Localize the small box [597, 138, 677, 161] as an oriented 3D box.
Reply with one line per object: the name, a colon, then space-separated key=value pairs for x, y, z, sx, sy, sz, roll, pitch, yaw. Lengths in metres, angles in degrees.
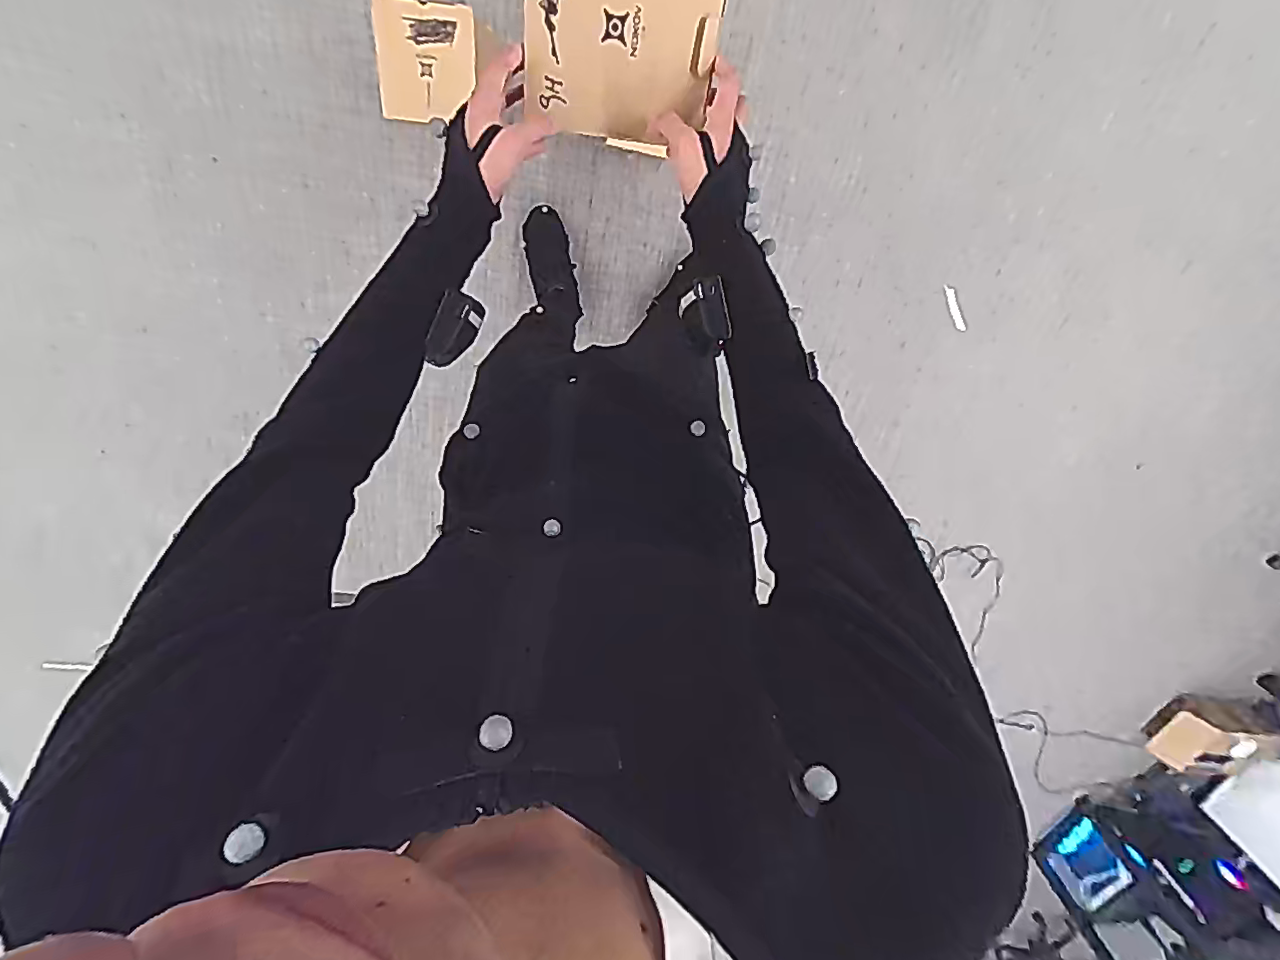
small box: x=0.002 y=-0.816 z=1.194 sx=0.179 sy=0.176 sz=0.168 roll=7 pitch=119 yaw=-11

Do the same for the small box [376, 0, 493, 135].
small box: x=-0.368 y=-0.755 z=0.998 sx=0.168 sy=0.176 sz=0.179 roll=4 pitch=120 yaw=-7

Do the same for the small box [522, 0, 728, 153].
small box: x=-0.025 y=-0.443 z=0.539 sx=0.179 sy=0.176 sz=0.168 roll=1 pitch=127 yaw=-12

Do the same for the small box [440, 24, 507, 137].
small box: x=-0.375 y=-0.840 z=1.139 sx=0.168 sy=0.176 sz=0.179 roll=2 pitch=120 yaw=-7
